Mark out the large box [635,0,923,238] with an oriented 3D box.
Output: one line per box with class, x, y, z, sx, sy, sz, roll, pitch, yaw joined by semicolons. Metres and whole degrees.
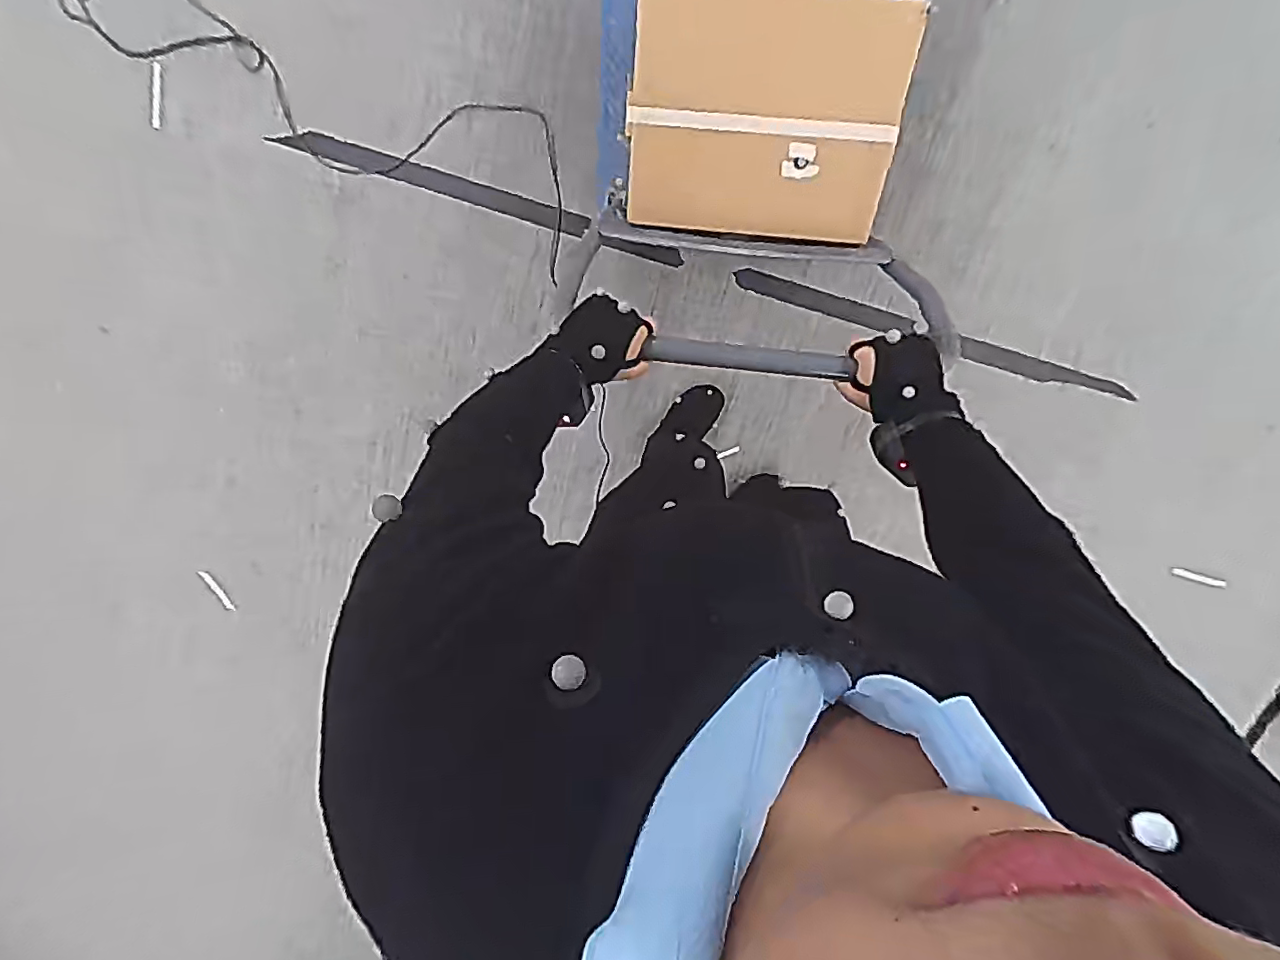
large box;0.202;-0.628;0.965;0.408;0.320;0.320;5;123;2
